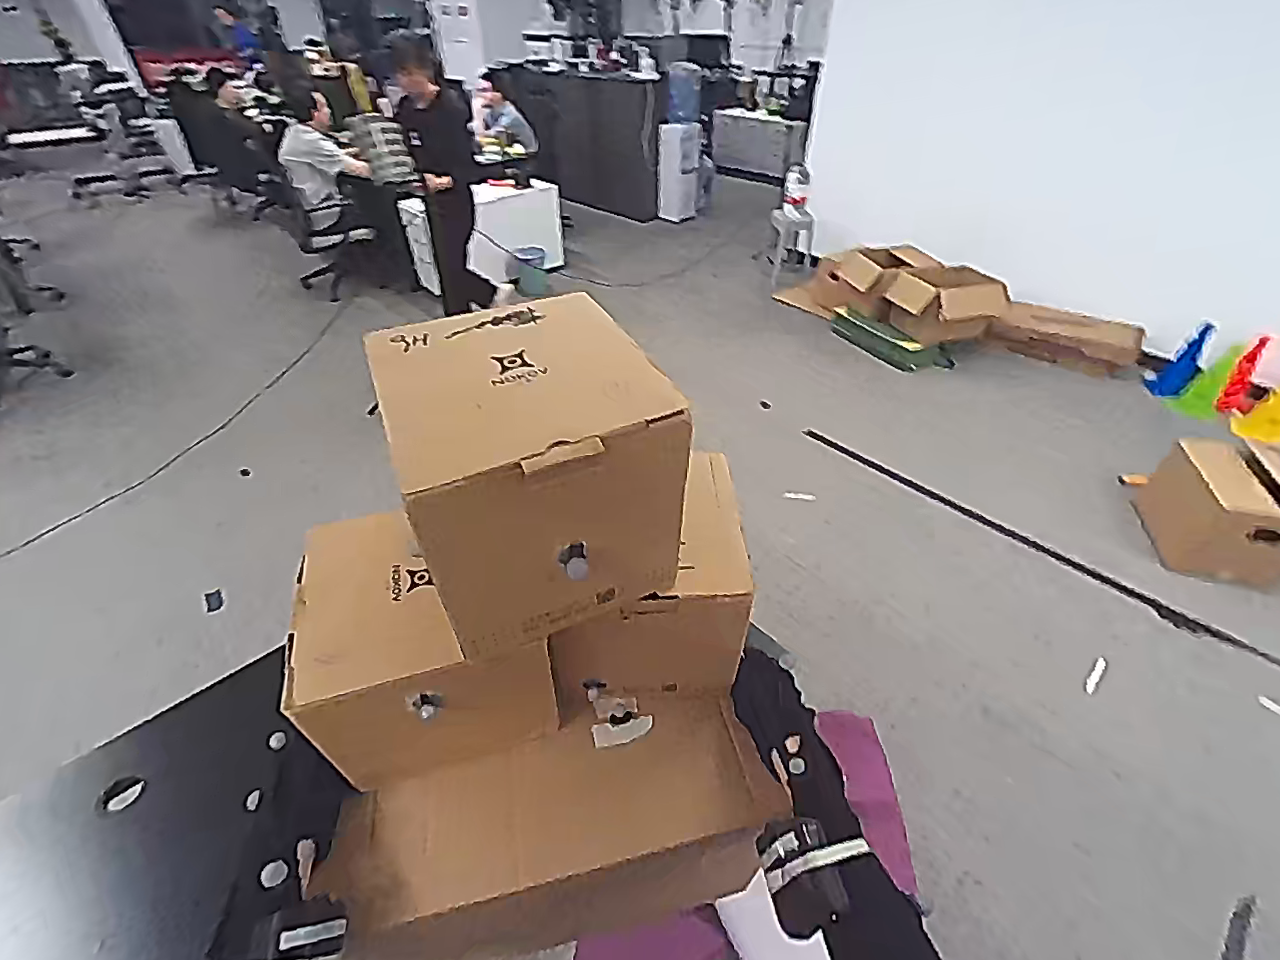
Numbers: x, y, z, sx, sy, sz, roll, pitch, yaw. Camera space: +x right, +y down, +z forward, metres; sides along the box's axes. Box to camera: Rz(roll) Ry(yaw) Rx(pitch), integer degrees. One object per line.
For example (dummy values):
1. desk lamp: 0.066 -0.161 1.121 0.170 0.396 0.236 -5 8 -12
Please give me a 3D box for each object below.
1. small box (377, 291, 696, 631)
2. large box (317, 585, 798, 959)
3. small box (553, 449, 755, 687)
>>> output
1. small box: -0.075 -0.013 0.400 0.168 0.176 0.179 -17 47 -19
2. large box: -0.092 0.318 0.641 0.408 0.320 0.320 -8 44 -12
3. small box: 0.009 0.088 0.533 0.168 0.176 0.179 0 42 -1
